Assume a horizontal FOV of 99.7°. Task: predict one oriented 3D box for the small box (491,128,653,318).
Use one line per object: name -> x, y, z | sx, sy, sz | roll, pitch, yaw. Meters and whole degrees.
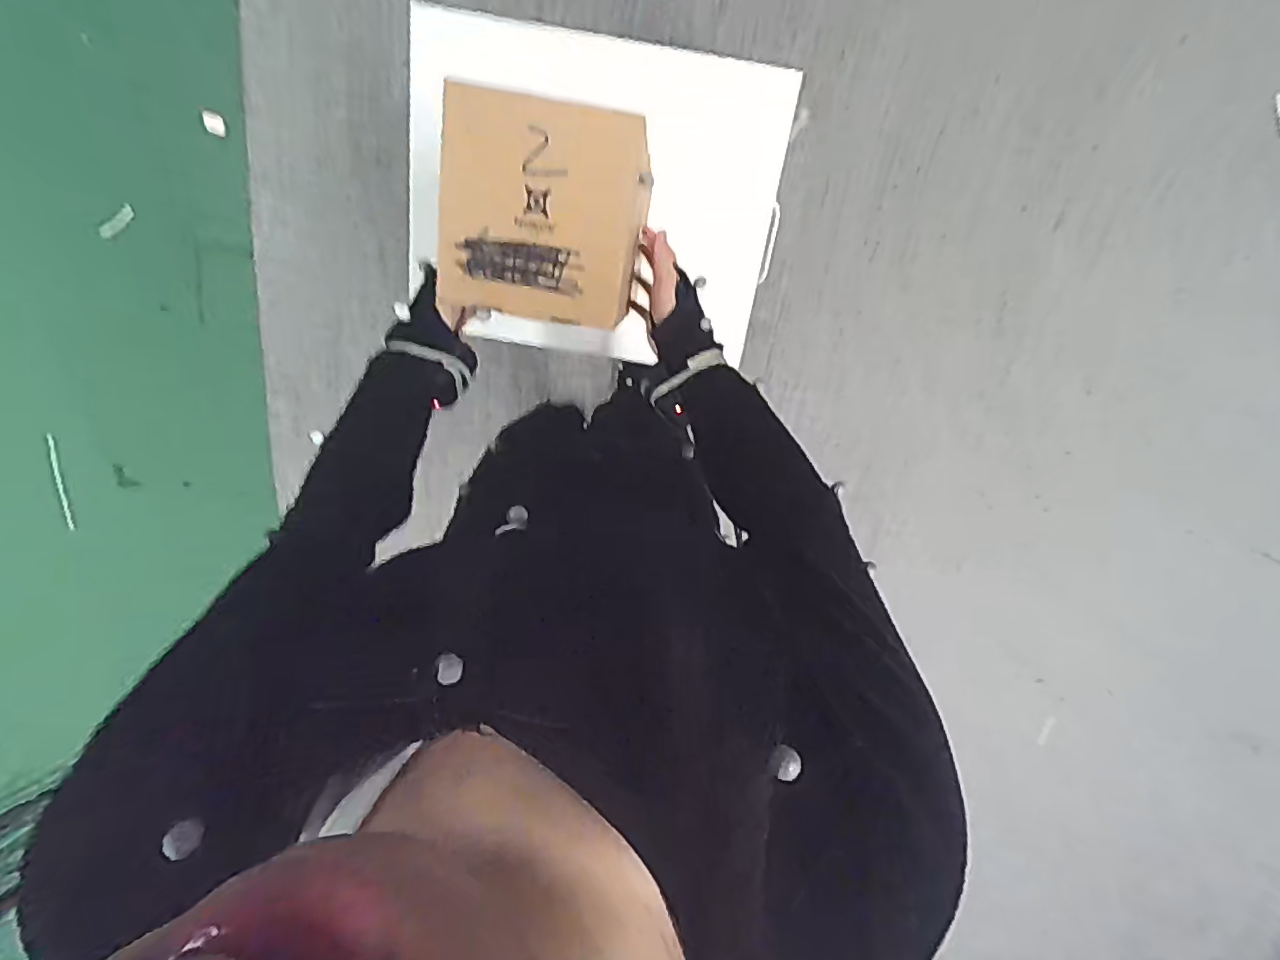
small box -> -0.079, -0.309, 0.683 | 0.168, 0.176, 0.179 | 9, 109, -1
